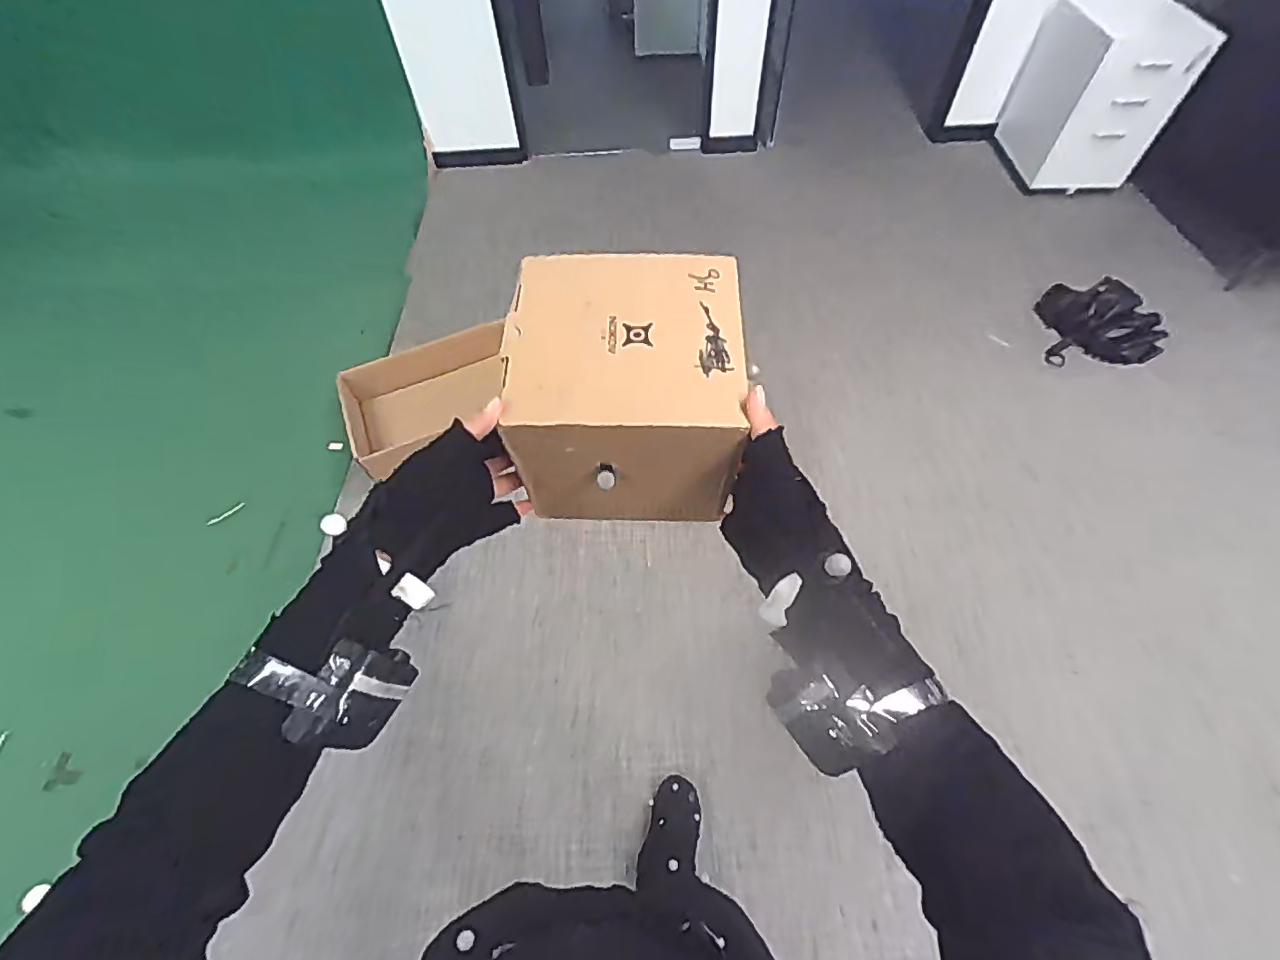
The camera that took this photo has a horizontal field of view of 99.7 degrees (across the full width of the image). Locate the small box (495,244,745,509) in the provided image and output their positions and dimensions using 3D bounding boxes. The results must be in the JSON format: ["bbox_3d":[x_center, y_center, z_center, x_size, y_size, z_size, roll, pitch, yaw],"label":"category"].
[{"bbox_3d":[-0.009,-0.081,0.474,0.179,0.176,0.168,1,64,2],"label":"small box"}]
